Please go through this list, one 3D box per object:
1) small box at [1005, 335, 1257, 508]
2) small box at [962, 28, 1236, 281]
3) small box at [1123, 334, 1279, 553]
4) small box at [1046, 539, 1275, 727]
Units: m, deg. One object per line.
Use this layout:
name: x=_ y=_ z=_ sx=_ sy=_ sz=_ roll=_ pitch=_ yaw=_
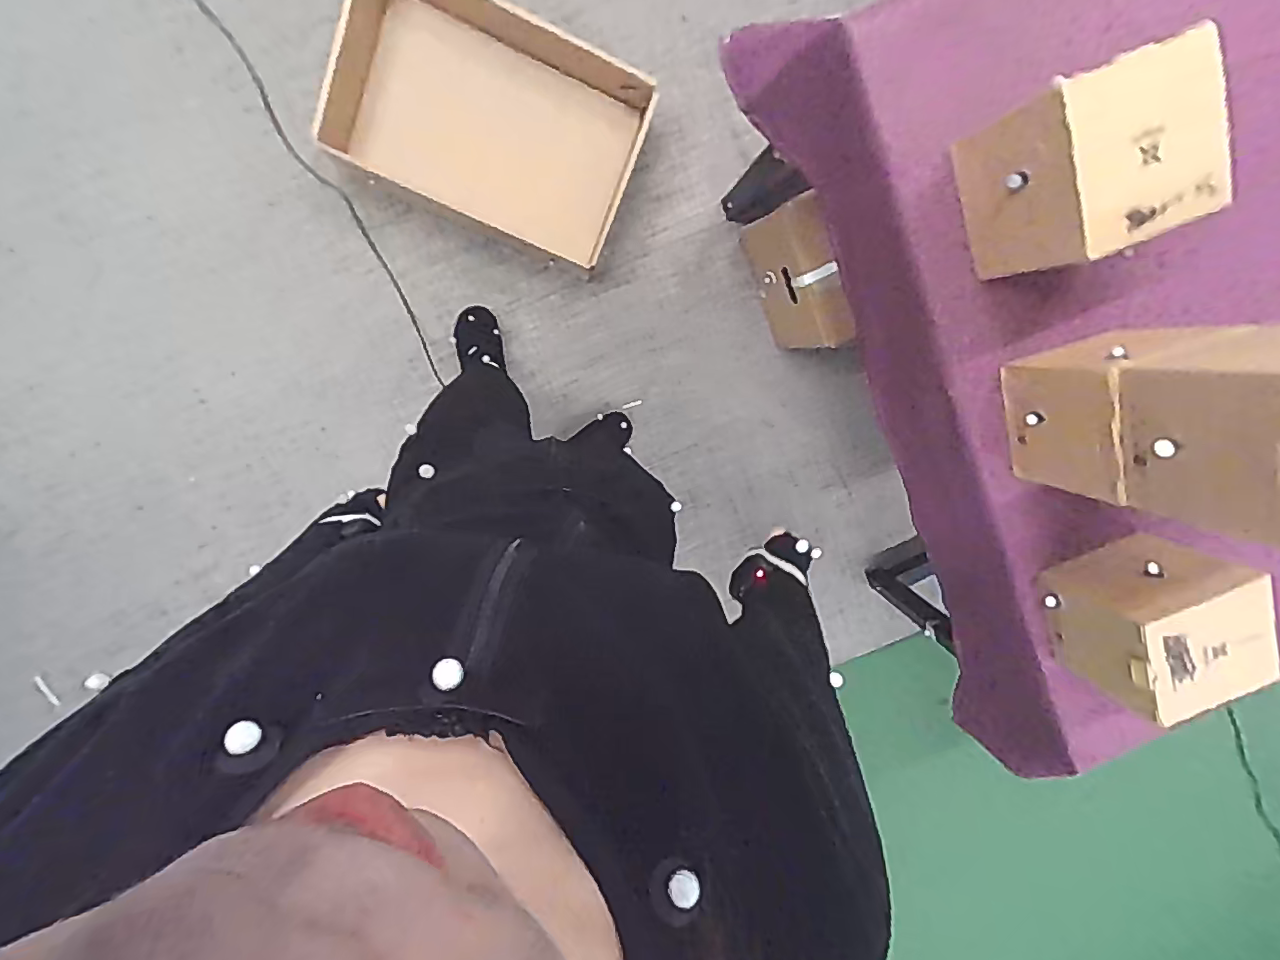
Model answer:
small box: x=0.619 y=-0.085 z=0.698 sx=0.179 sy=0.176 sz=0.168 roll=-17 pitch=104 yaw=0
small box: x=0.507 y=-0.350 z=0.620 sx=0.168 sy=0.176 sz=0.179 roll=-21 pitch=104 yaw=1
small box: x=0.640 y=-0.047 z=0.539 sx=0.179 sy=0.176 sz=0.168 roll=-16 pitch=104 yaw=-1
small box: x=0.726 y=0.207 z=0.776 sx=0.179 sy=0.176 sz=0.168 roll=-22 pitch=104 yaw=0
